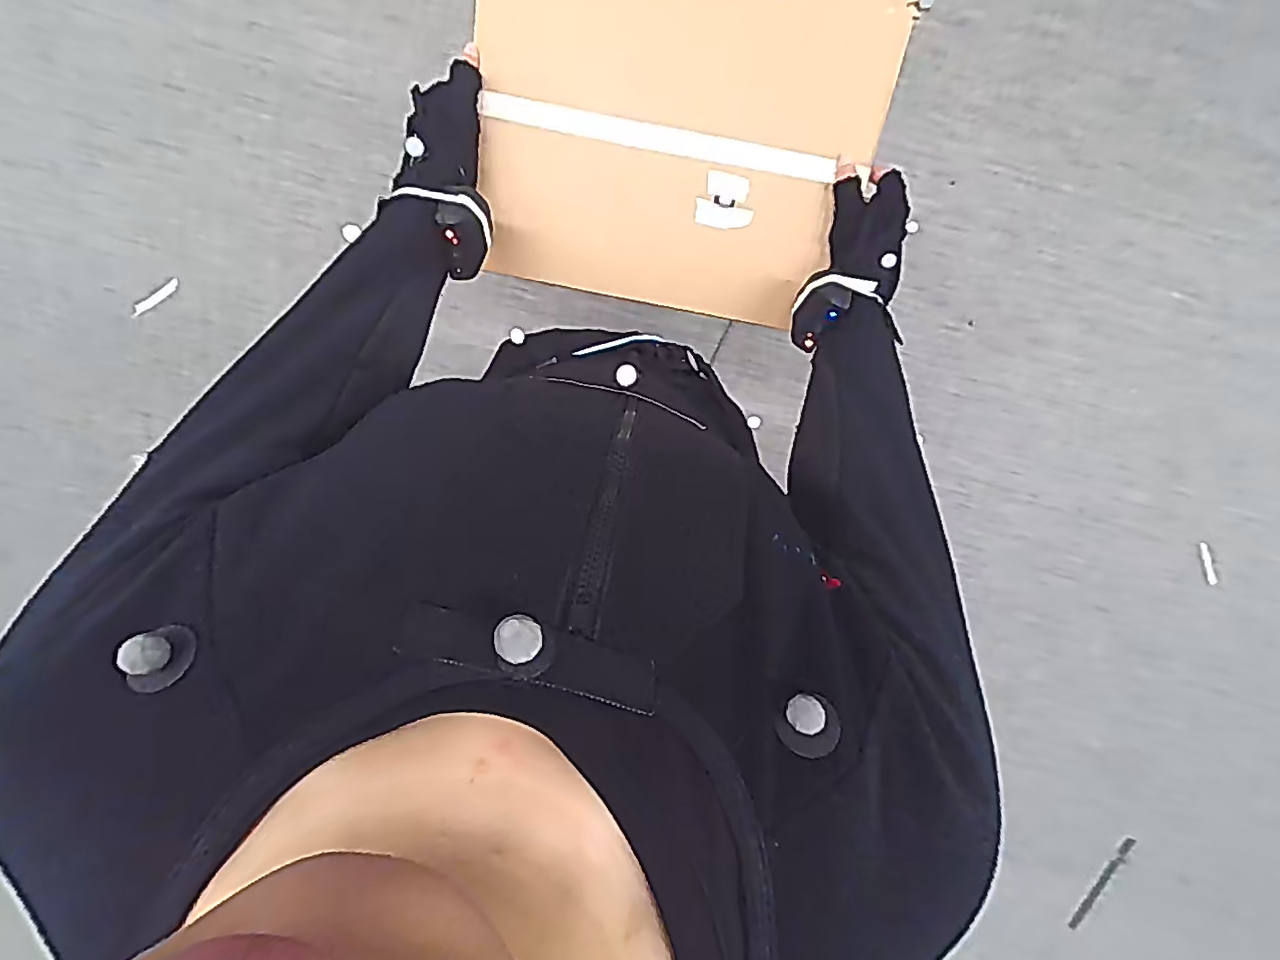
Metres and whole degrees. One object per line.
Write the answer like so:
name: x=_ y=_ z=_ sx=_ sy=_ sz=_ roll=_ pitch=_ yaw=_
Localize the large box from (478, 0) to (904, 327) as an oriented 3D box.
large box: x=0.037 y=-0.398 z=0.702 sx=0.408 sy=0.320 sz=0.320 roll=10 pitch=111 yaw=-2
